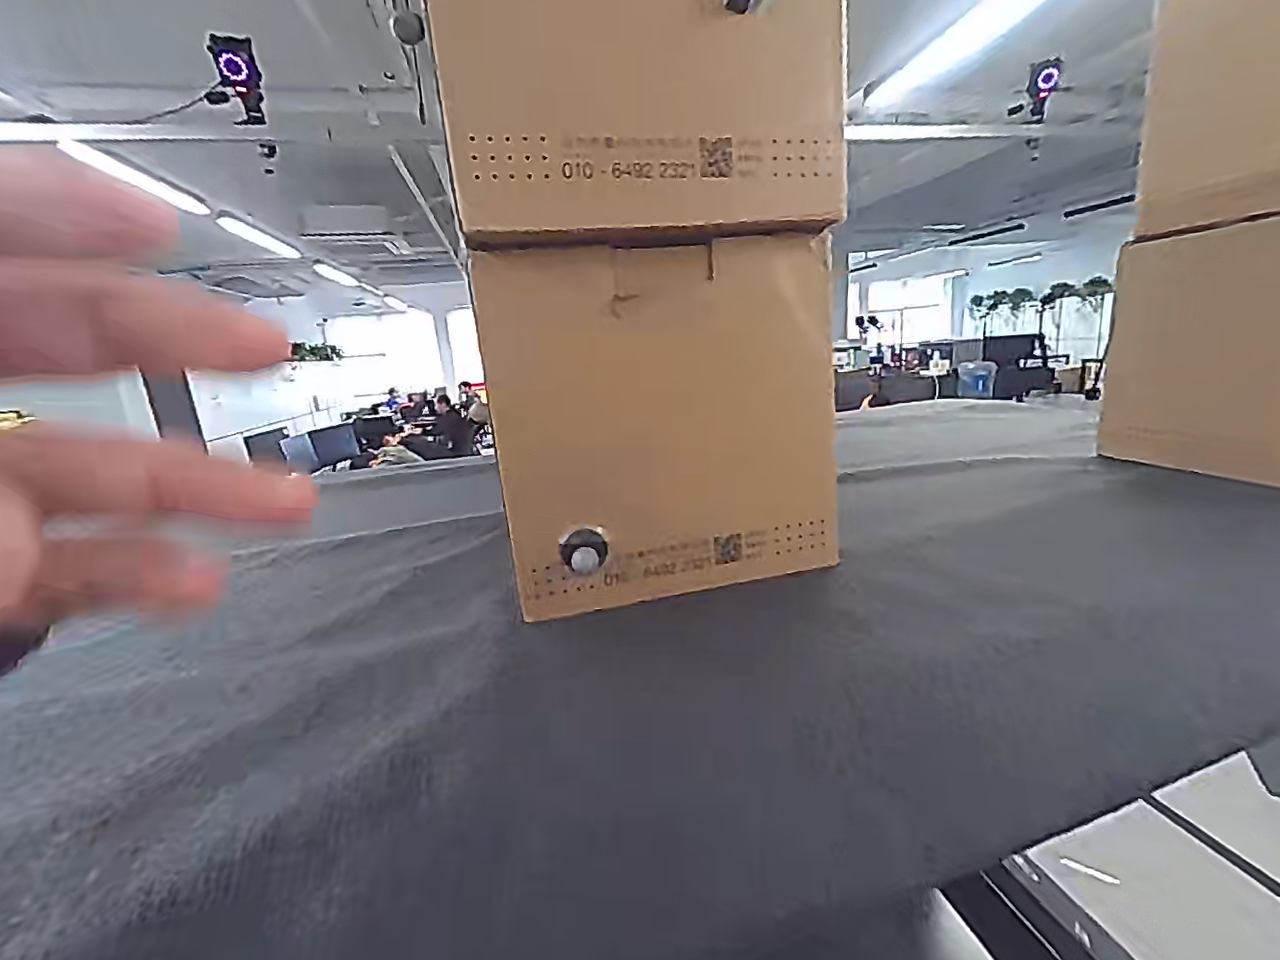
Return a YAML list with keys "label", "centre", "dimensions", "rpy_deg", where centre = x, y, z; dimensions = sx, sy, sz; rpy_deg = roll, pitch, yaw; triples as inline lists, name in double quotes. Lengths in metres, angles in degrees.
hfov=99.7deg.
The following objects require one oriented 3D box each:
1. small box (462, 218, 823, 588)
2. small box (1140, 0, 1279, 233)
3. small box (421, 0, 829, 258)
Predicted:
- label: "small box"
  centre: [-0.003, -0.043, 0.329]
  dimensions: [0.168, 0.176, 0.179]
  rpy_deg: [-8, 12, -11]
- label: "small box"
  centre: [0.449, -0.251, 0.314]
  dimensions: [0.168, 0.176, 0.179]
  rpy_deg: [-8, 15, -10]
- label: "small box"
  centre: [-0.017, -0.198, 0.280]
  dimensions: [0.168, 0.176, 0.179]
  rpy_deg: [-7, 12, -14]
